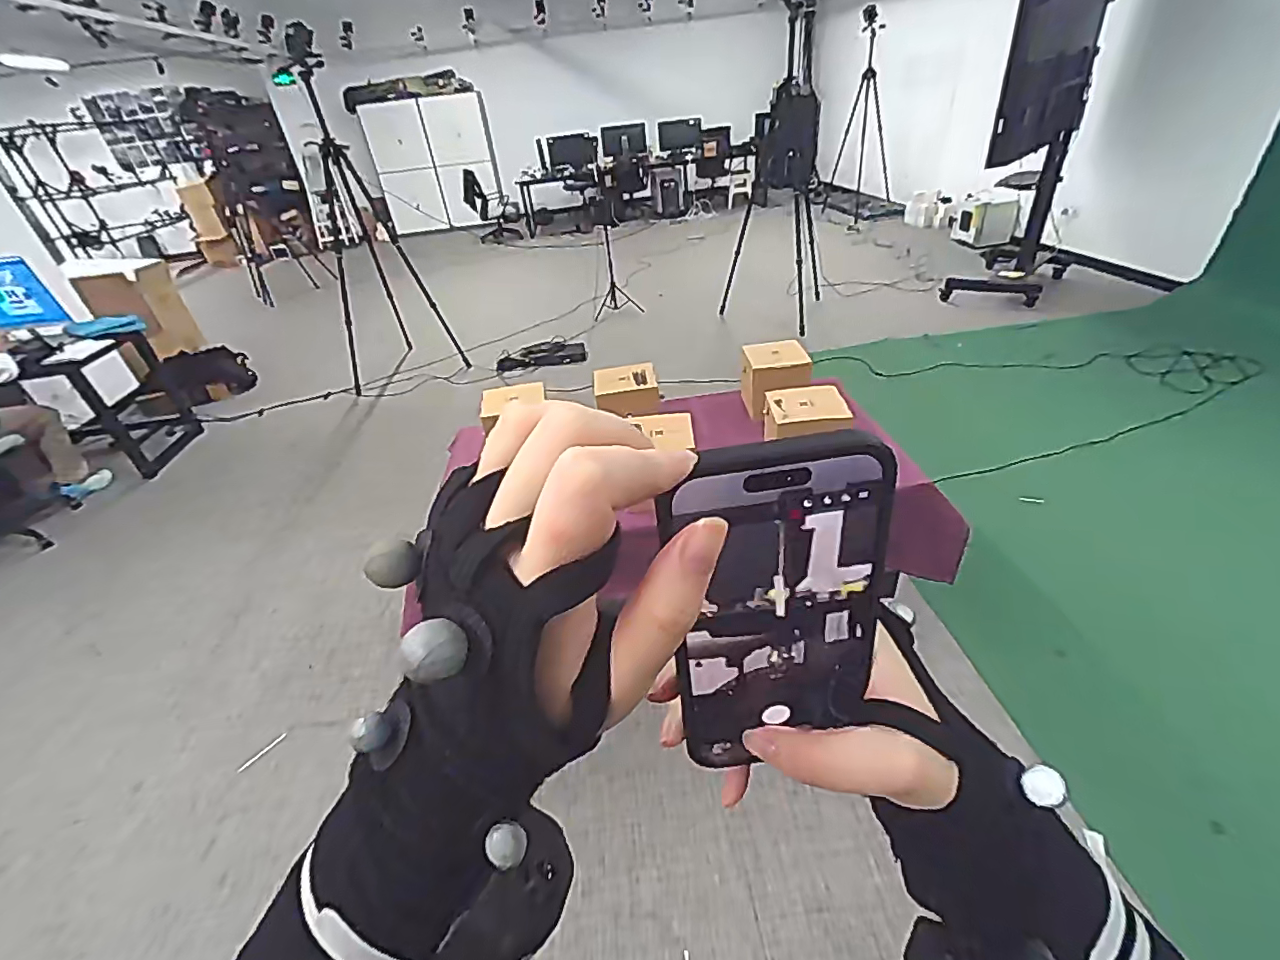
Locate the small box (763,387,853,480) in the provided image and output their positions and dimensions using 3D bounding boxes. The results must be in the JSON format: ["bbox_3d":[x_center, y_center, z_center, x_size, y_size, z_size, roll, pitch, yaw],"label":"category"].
[{"bbox_3d":[0.408,-0.114,1.342,0.179,0.176,0.168,-4,35,4],"label":"small box"}]

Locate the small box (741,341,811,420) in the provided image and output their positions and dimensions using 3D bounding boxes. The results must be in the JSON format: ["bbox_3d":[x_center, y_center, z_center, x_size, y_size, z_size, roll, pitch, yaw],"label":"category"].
[{"bbox_3d":[0.394,-0.295,1.598,0.168,0.176,0.179,-7,36,2],"label":"small box"}]

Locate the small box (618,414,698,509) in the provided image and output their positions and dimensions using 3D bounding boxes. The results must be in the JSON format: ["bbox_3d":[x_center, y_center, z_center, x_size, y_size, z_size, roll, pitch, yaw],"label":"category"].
[{"bbox_3d":[0.046,-0.043,1.307,0.179,0.176,0.168,-4,35,3],"label":"small box"}]

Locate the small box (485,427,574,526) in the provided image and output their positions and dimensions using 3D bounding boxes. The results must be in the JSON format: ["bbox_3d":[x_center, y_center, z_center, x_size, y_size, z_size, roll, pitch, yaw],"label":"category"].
[{"bbox_3d":[-0.265,-0.007,1.313,0.179,0.176,0.168,-10,35,-7],"label":"small box"}]
